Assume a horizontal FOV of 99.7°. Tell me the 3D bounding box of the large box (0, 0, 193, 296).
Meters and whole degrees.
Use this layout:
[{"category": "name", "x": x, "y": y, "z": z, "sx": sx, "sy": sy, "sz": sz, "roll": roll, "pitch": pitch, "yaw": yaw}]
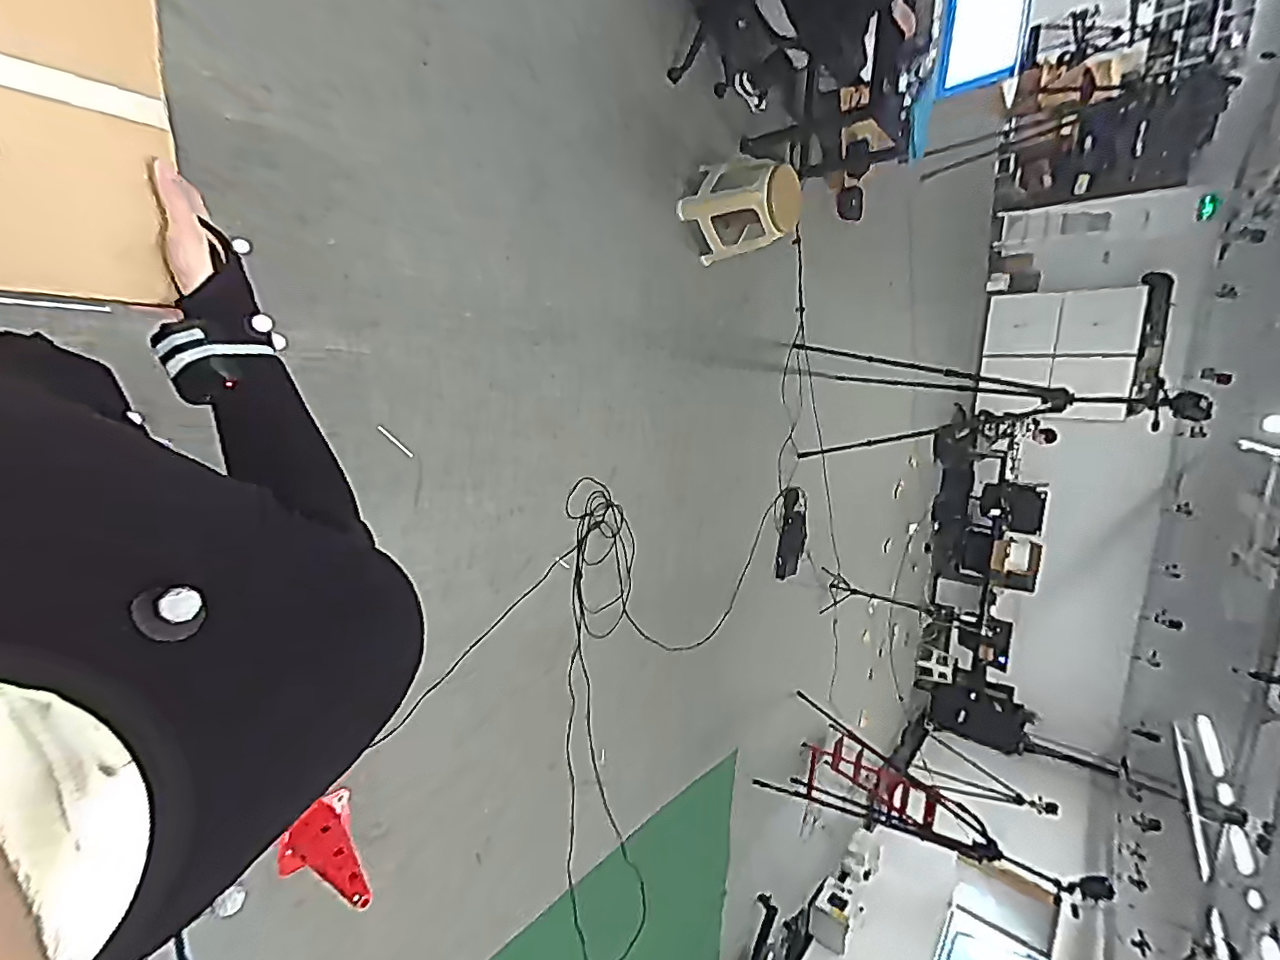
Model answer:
[{"category": "large box", "x": -0.656, "y": -0.328, "z": 0.422, "sx": 0.408, "sy": 0.320, "sz": 0.320, "roll": -12, "pitch": 115, "yaw": -48}]
